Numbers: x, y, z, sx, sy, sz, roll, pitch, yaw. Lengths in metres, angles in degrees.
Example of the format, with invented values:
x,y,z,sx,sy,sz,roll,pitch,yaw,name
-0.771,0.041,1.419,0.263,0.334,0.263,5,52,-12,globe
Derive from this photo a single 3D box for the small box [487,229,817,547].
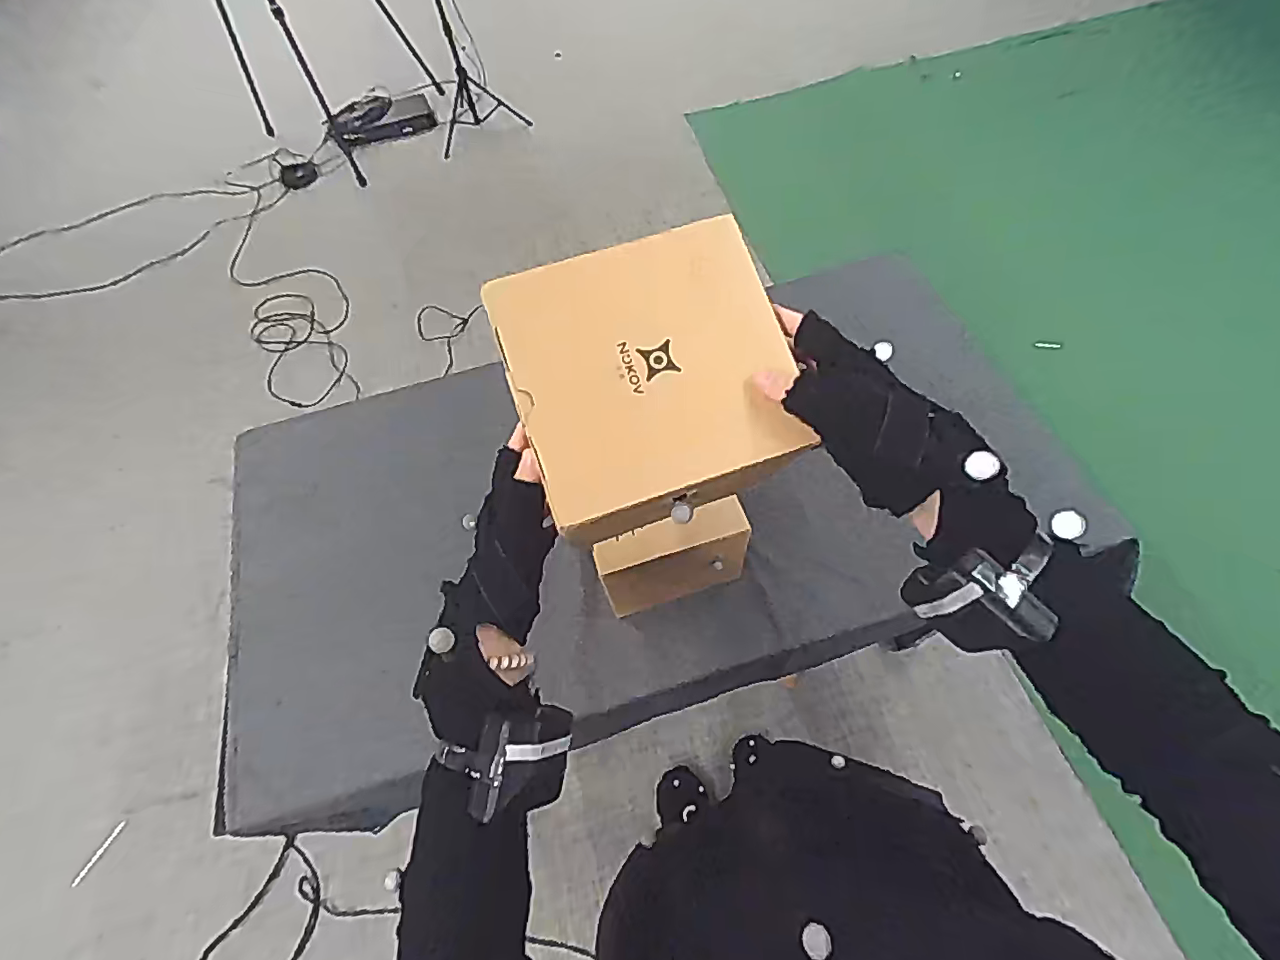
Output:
x,y,z,sx,sy,sz,roll,pitch,yaw,name
0.002,-0.054,0.422,0.179,0.176,0.168,-19,80,-6,small box
